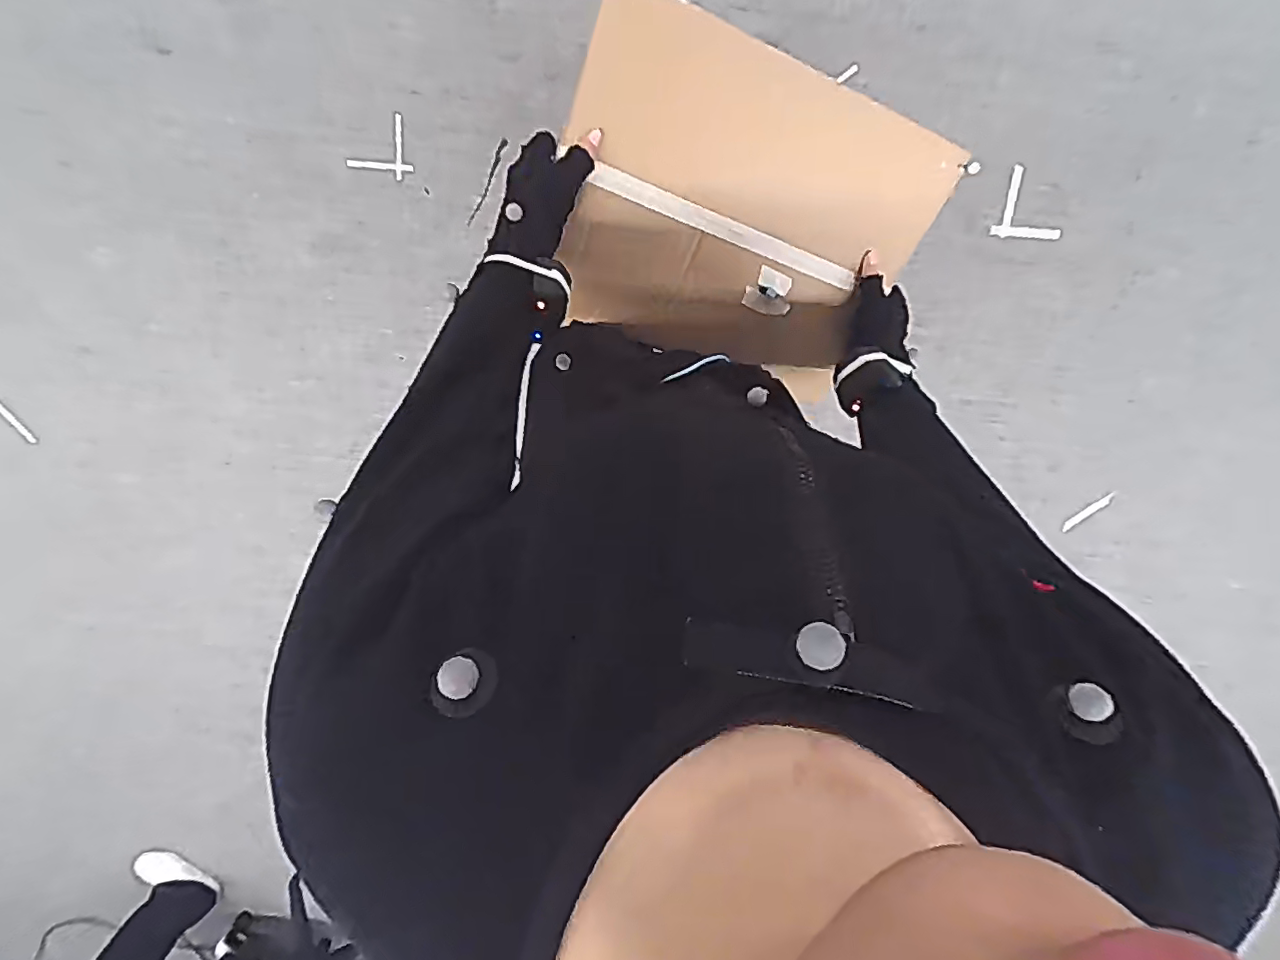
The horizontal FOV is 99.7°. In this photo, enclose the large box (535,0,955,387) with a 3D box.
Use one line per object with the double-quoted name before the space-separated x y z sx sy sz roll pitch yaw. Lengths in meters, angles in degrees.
"large box" 0.098 -0.378 0.740 0.408 0.320 0.320 15 123 -14
